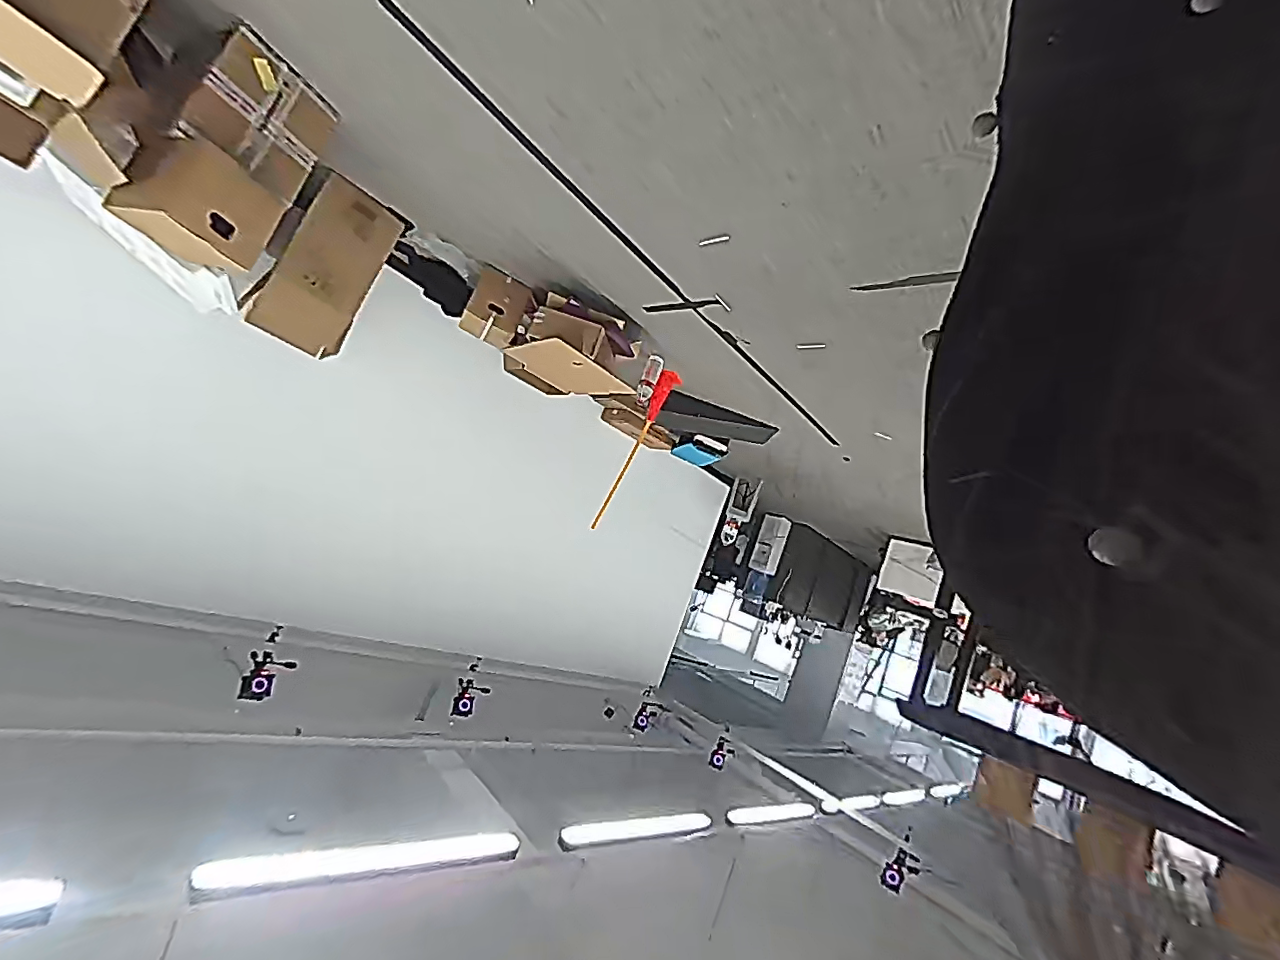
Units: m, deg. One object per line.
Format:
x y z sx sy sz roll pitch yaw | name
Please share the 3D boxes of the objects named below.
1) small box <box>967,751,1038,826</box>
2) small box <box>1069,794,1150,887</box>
1.264 1.066 1.882 0.168 0.176 0.179 12 169 44 | small box
1.452 1.103 1.674 0.168 0.176 0.179 11 169 43 | small box
